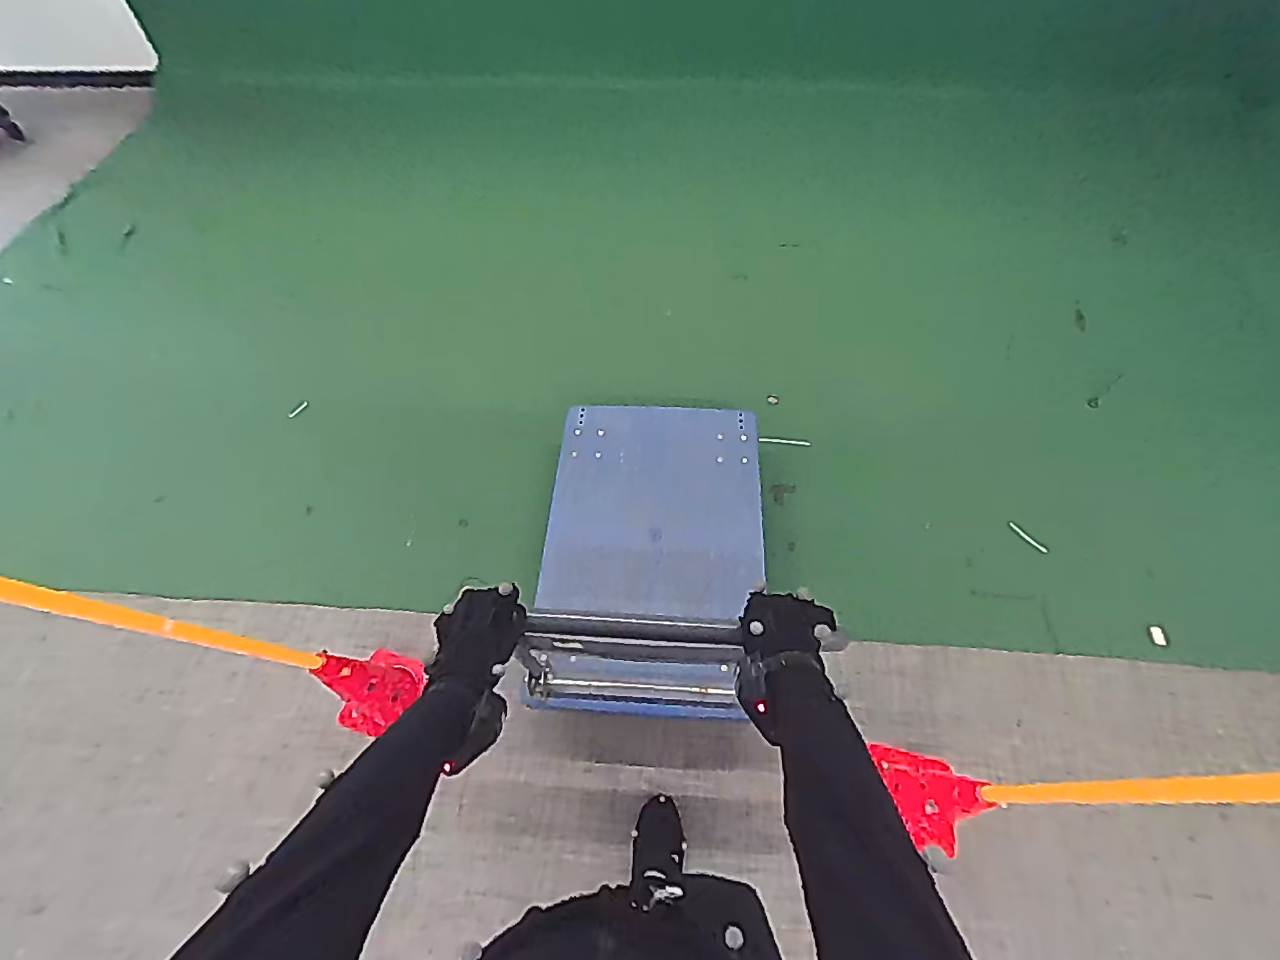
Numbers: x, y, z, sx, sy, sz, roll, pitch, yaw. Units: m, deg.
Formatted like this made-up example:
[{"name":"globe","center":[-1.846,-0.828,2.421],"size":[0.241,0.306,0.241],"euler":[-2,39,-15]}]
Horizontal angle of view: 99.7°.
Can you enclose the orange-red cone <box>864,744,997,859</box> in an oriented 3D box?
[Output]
[{"name":"orange-red cone","center":[0.615,0.644,1.096],"size":[0.198,0.360,0.199],"euler":[12,60,10]}]
